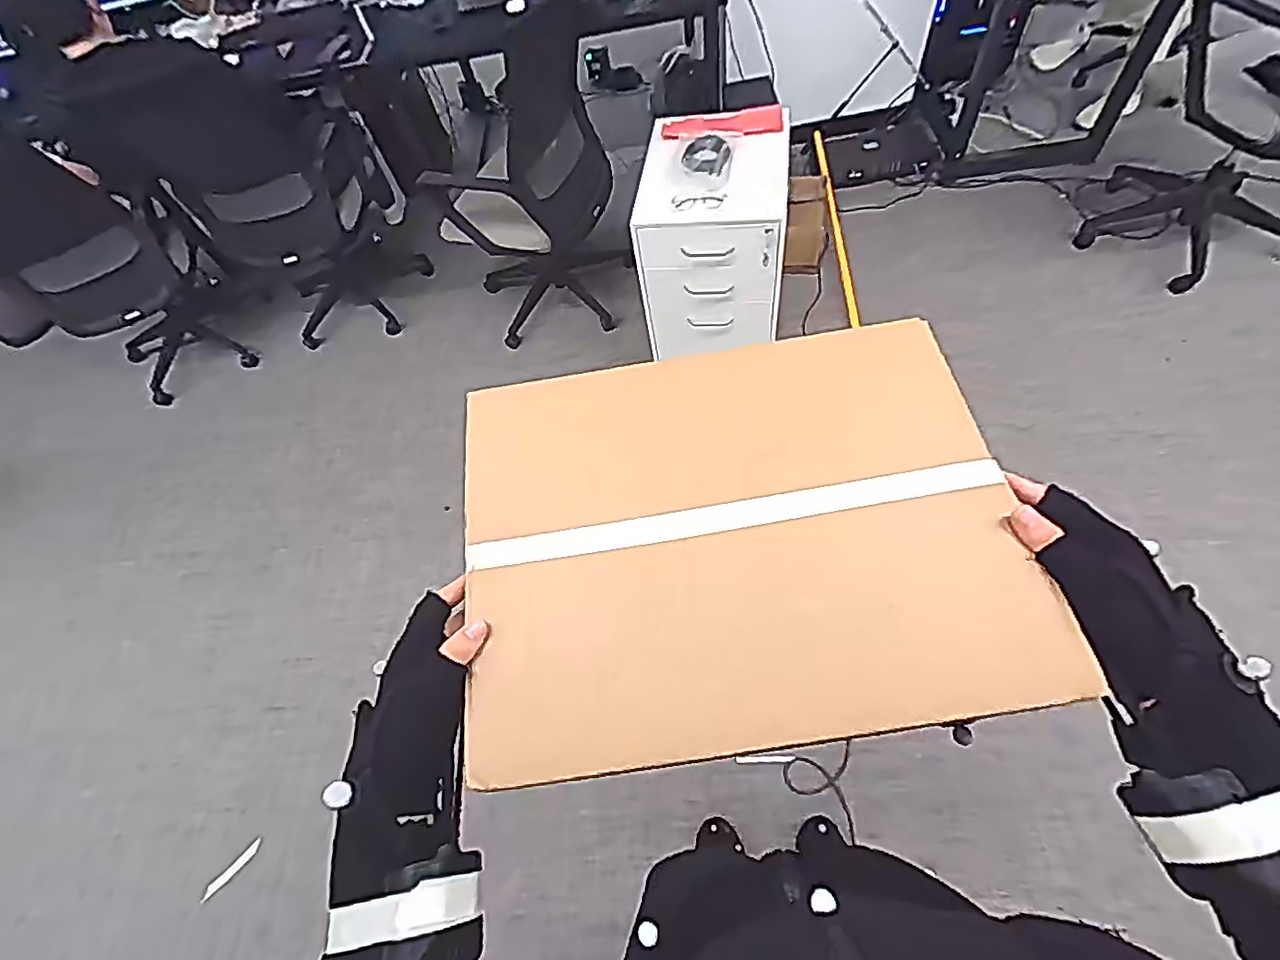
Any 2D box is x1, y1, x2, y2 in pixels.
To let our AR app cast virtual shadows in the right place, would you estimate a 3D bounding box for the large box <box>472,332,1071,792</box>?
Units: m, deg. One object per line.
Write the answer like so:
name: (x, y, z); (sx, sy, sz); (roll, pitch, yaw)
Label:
large box: (0.081, 0.098, 0.551); (0.408, 0.320, 0.320); (-9, 63, 1)
